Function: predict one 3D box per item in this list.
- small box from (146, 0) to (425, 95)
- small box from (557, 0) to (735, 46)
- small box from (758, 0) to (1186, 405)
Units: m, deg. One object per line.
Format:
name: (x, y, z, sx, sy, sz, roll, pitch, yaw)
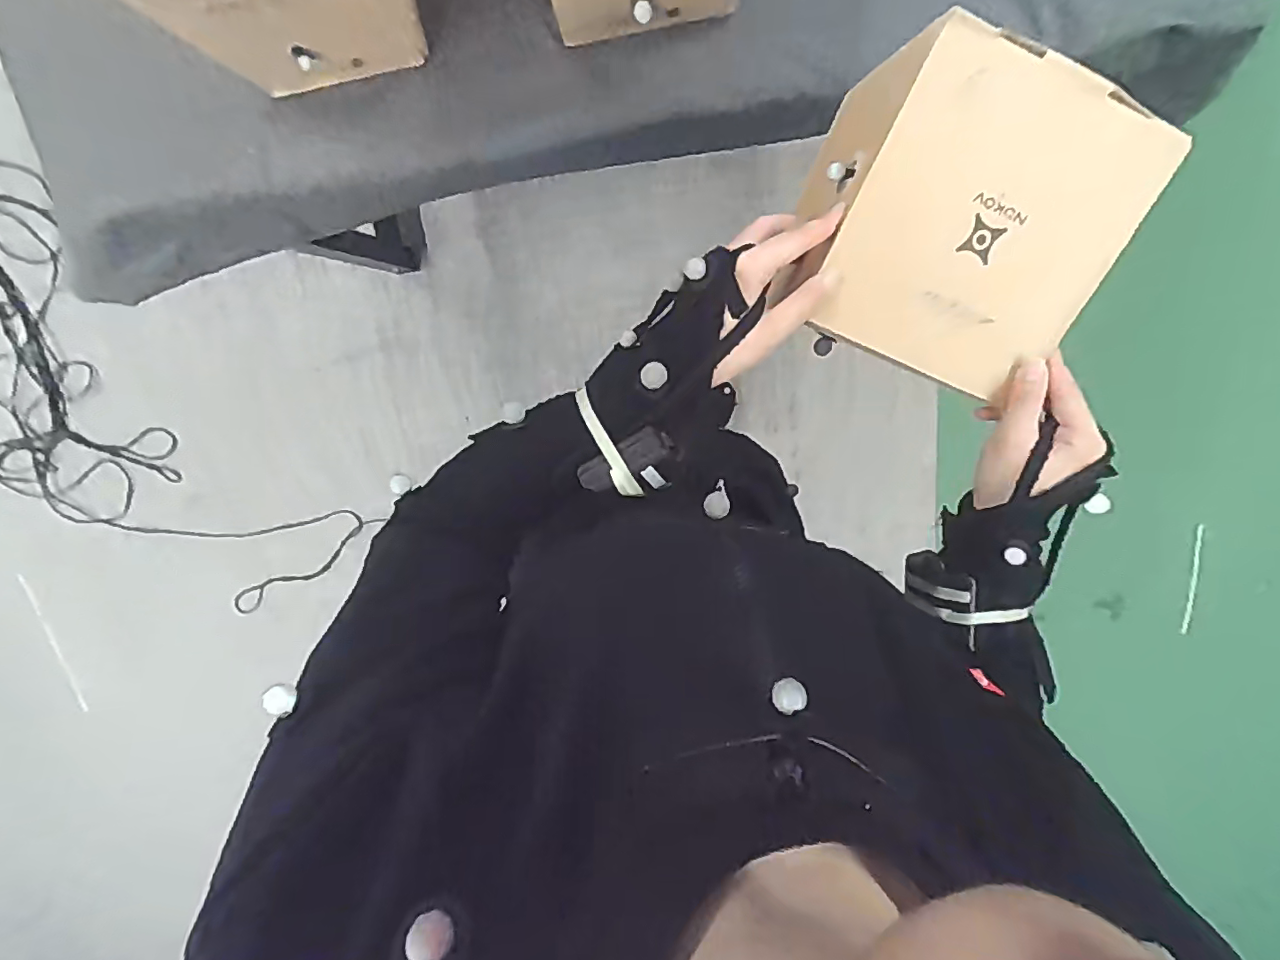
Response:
small box: (-0.302, -0.459, 0.437, 0.168, 0.176, 0.179, -10, 104, 4)
small box: (-0.005, -0.489, 0.416, 0.168, 0.176, 0.179, -8, 104, 4)
small box: (0.205, -0.183, 0.398, 0.168, 0.176, 0.179, 21, 111, -9)
